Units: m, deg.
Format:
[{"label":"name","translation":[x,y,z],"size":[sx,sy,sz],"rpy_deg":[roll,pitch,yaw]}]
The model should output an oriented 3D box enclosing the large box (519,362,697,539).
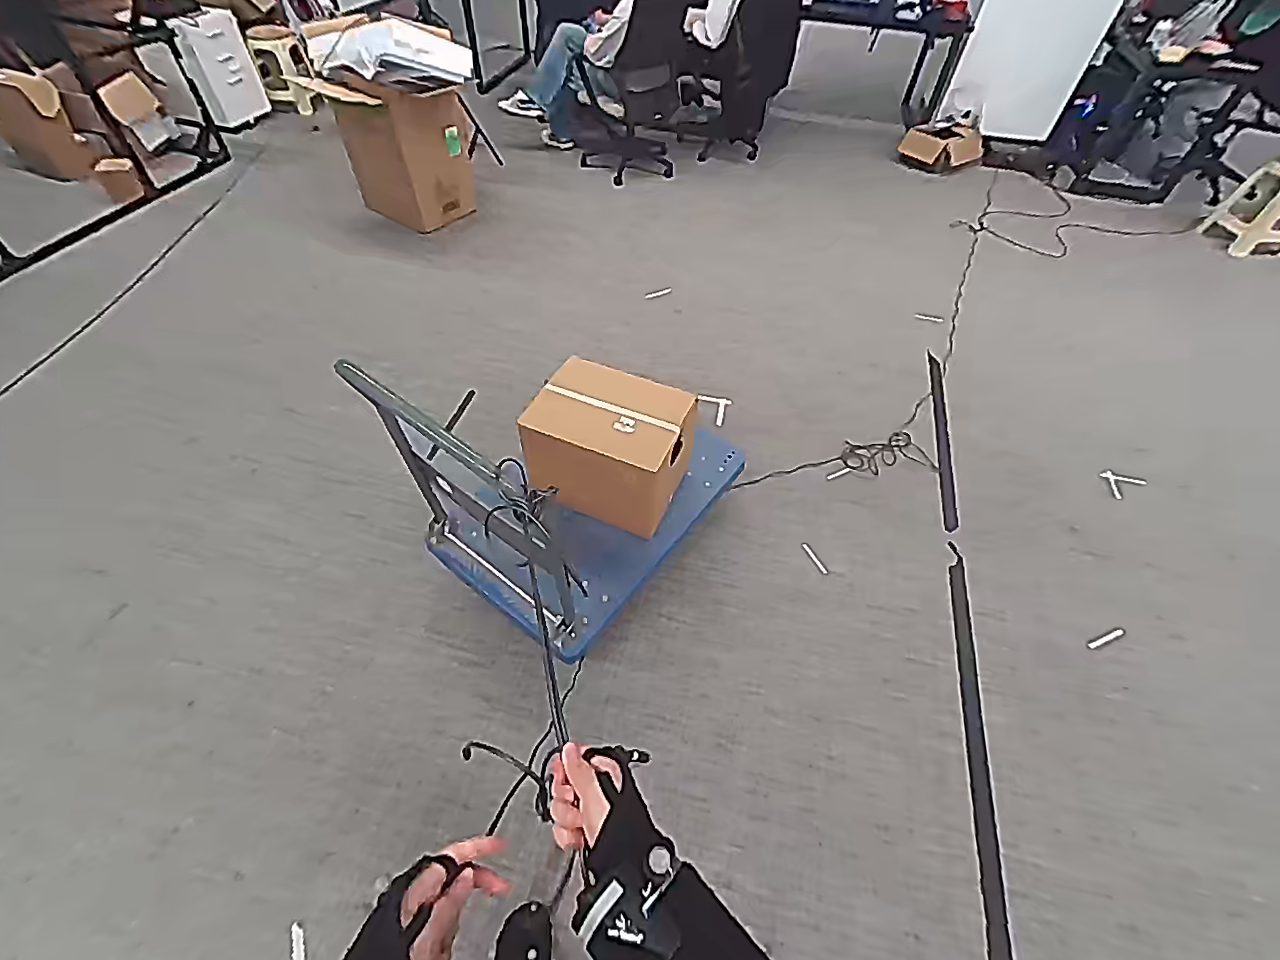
[{"label":"large box","translation":[-0.088,-0.086,1.575],"size":[0.408,0.320,0.320],"rpy_deg":[20,53,13]}]
